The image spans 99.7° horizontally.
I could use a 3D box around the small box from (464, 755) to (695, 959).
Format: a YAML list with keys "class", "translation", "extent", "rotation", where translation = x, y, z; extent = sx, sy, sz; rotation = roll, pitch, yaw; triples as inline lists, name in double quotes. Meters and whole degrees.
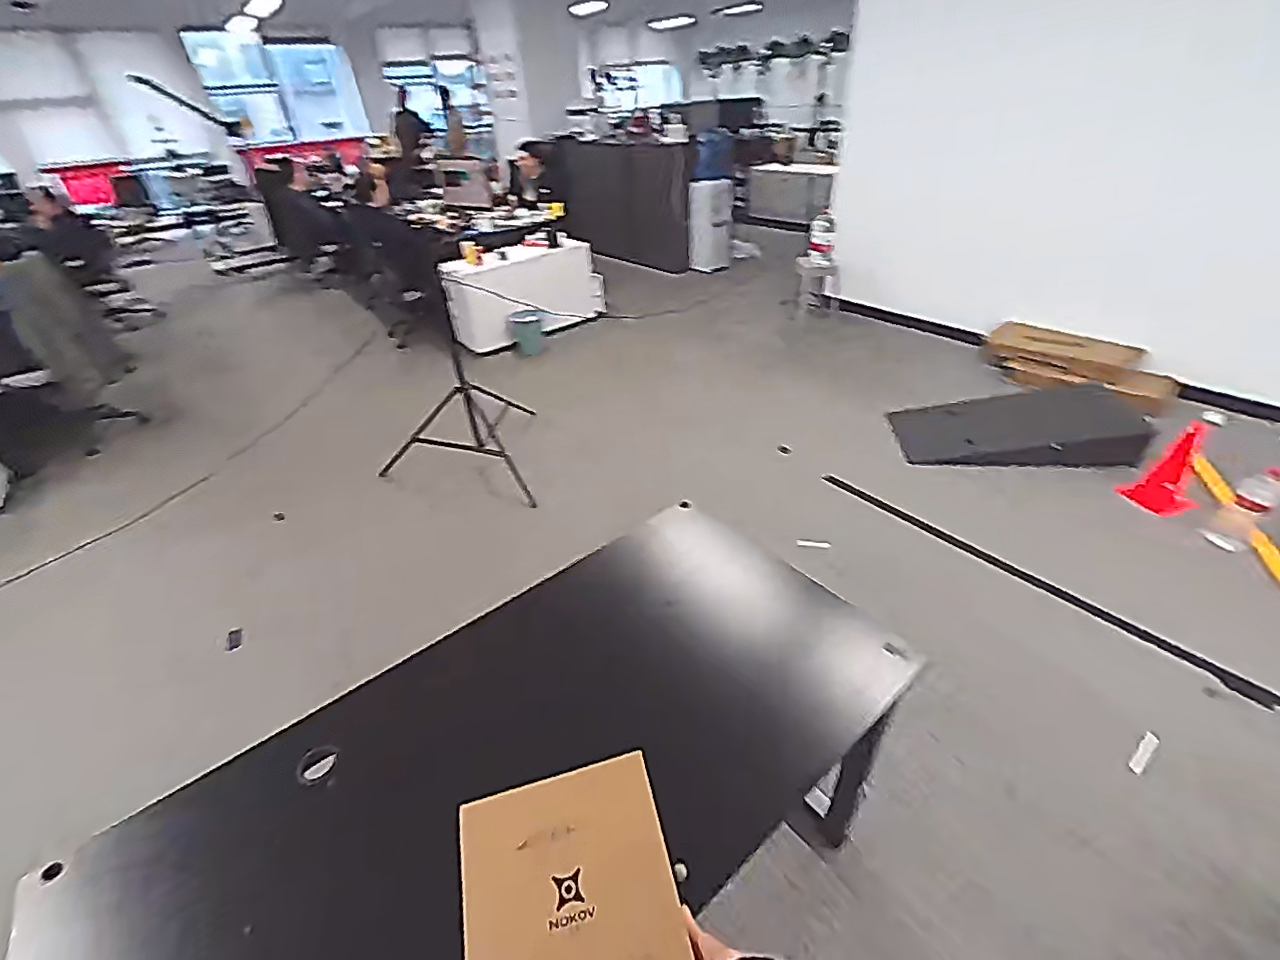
- class: "small box"
  translation: [-0.048, 0.380, 0.480]
  extent: [0.168, 0.176, 0.179]
  rotation: [-13, 47, -9]
